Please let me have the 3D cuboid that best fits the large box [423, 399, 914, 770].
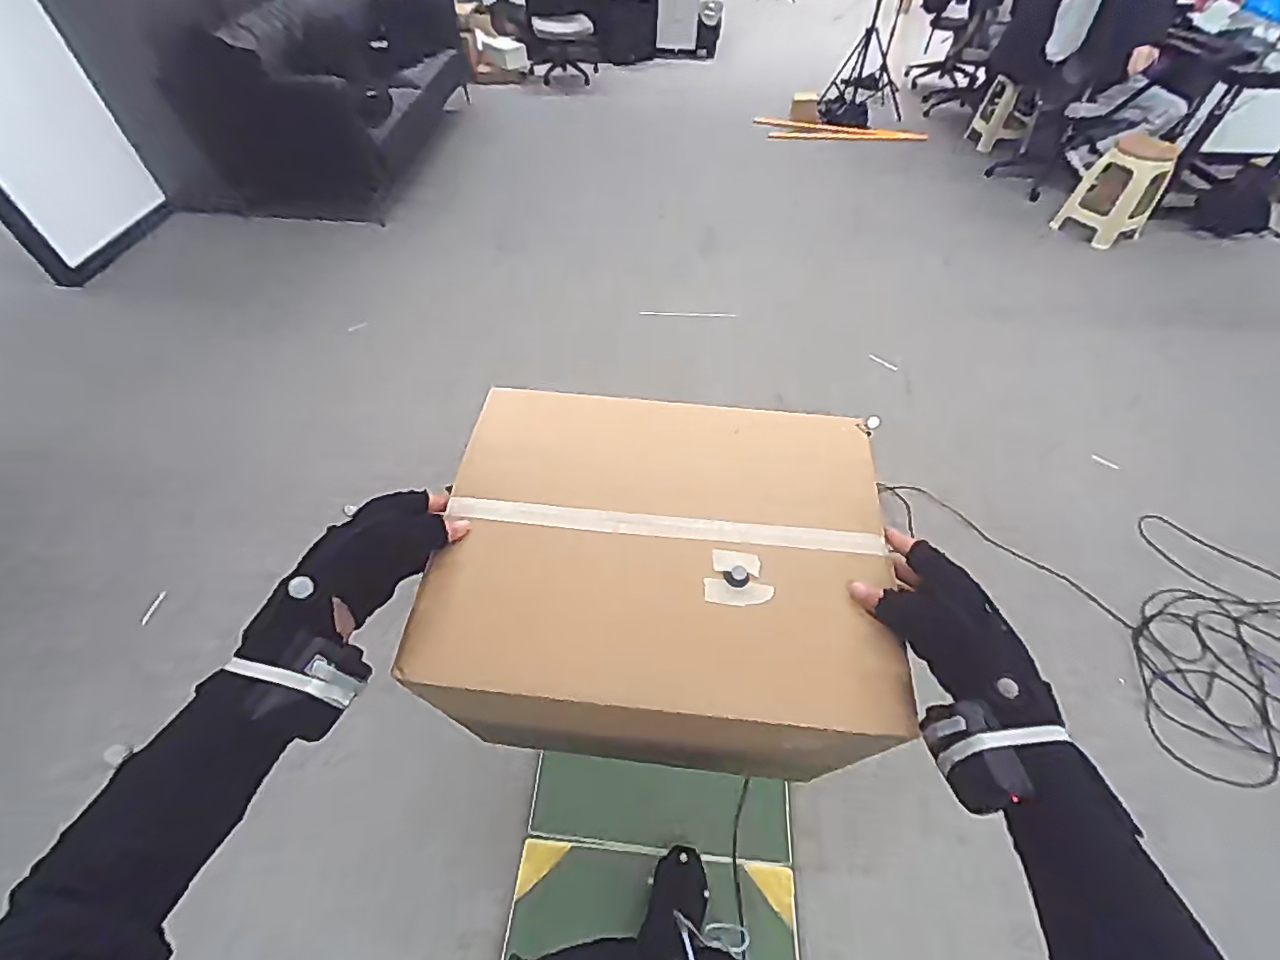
[{"bbox_3d":[0.027,0.133,0.635,0.408,0.320,0.320,5,56,2],"label":"large box"}]
